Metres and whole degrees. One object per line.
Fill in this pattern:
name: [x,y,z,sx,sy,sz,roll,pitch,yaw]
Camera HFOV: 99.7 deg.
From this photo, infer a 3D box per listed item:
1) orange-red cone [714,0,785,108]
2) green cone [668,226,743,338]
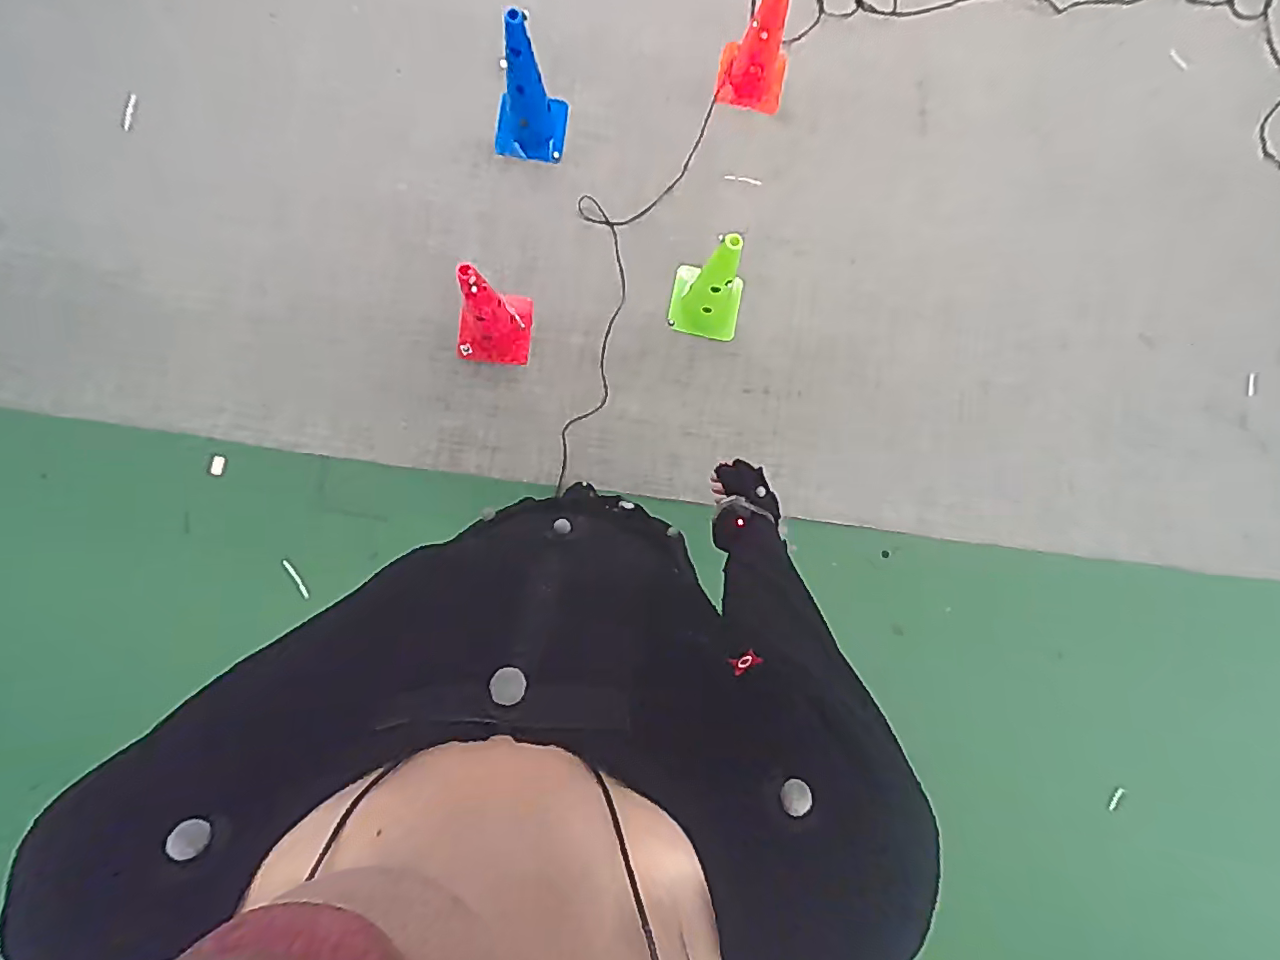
orange-red cone: [0.343,-1.255,1.480,0.198,0.360,0.199,12,86,-2]
green cone: [0.206,-0.539,1.410,0.200,0.368,0.202,10,84,-4]
